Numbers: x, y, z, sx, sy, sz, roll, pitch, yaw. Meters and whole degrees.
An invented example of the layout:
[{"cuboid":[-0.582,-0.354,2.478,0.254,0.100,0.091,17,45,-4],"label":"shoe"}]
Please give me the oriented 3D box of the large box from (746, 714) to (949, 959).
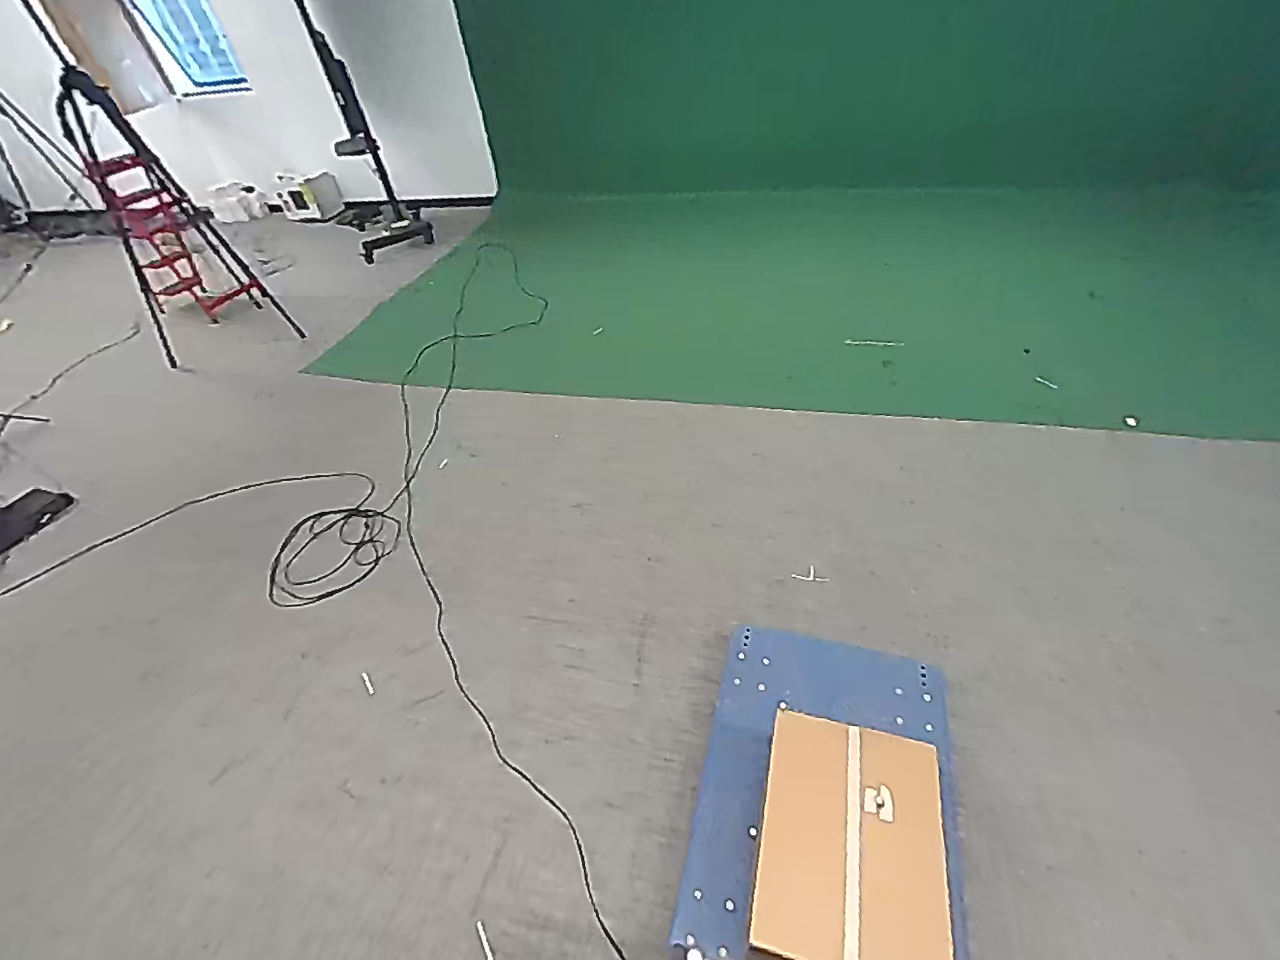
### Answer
[{"cuboid":[0.395,0.764,1.092,0.320,0.320,0.408,8,45,15],"label":"large box"}]
